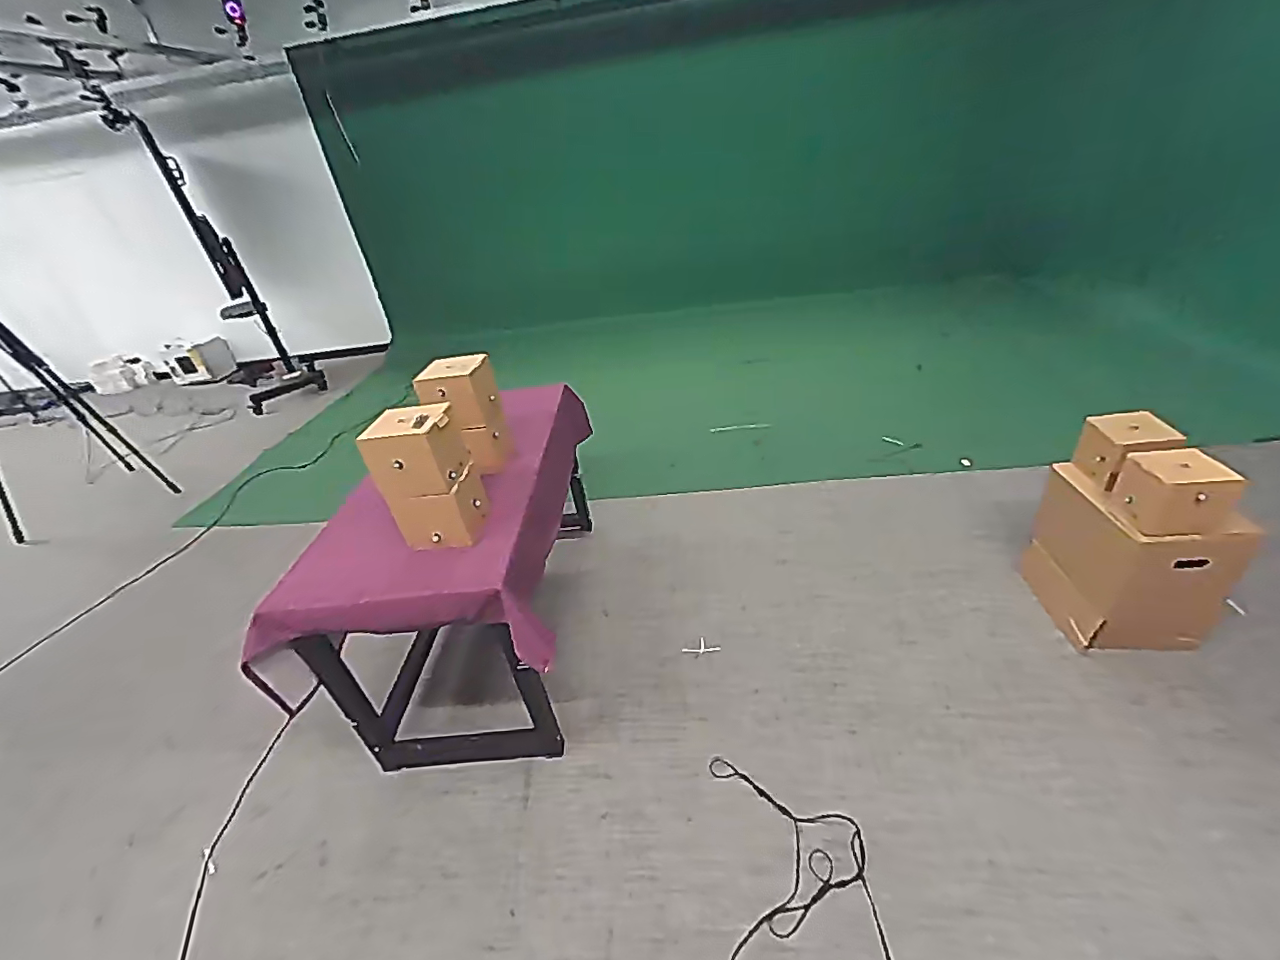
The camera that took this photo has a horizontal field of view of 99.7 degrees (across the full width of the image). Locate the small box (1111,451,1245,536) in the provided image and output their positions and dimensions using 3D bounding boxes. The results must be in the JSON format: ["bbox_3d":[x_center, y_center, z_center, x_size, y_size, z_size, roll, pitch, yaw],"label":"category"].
[{"bbox_3d":[1.450,0.038,1.474,0.179,0.176,0.168,-4,32,8],"label":"small box"}]

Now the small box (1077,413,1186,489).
[{"bbox_3d":[1.487,-0.085,1.657,0.179,0.176,0.168,-4,35,8],"label":"small box"}]

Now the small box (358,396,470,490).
[{"bbox_3d":[-0.543,-0.089,1.333,0.179,0.176,0.168,-5,33,8],"label":"small box"}]

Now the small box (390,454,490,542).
[{"bbox_3d":[-0.513,0.048,1.419,0.179,0.176,0.168,-4,32,6],"label":"small box"}]

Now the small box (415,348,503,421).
[{"bbox_3d":[-0.535,-0.282,1.625,0.179,0.176,0.168,-4,34,8],"label":"small box"}]
